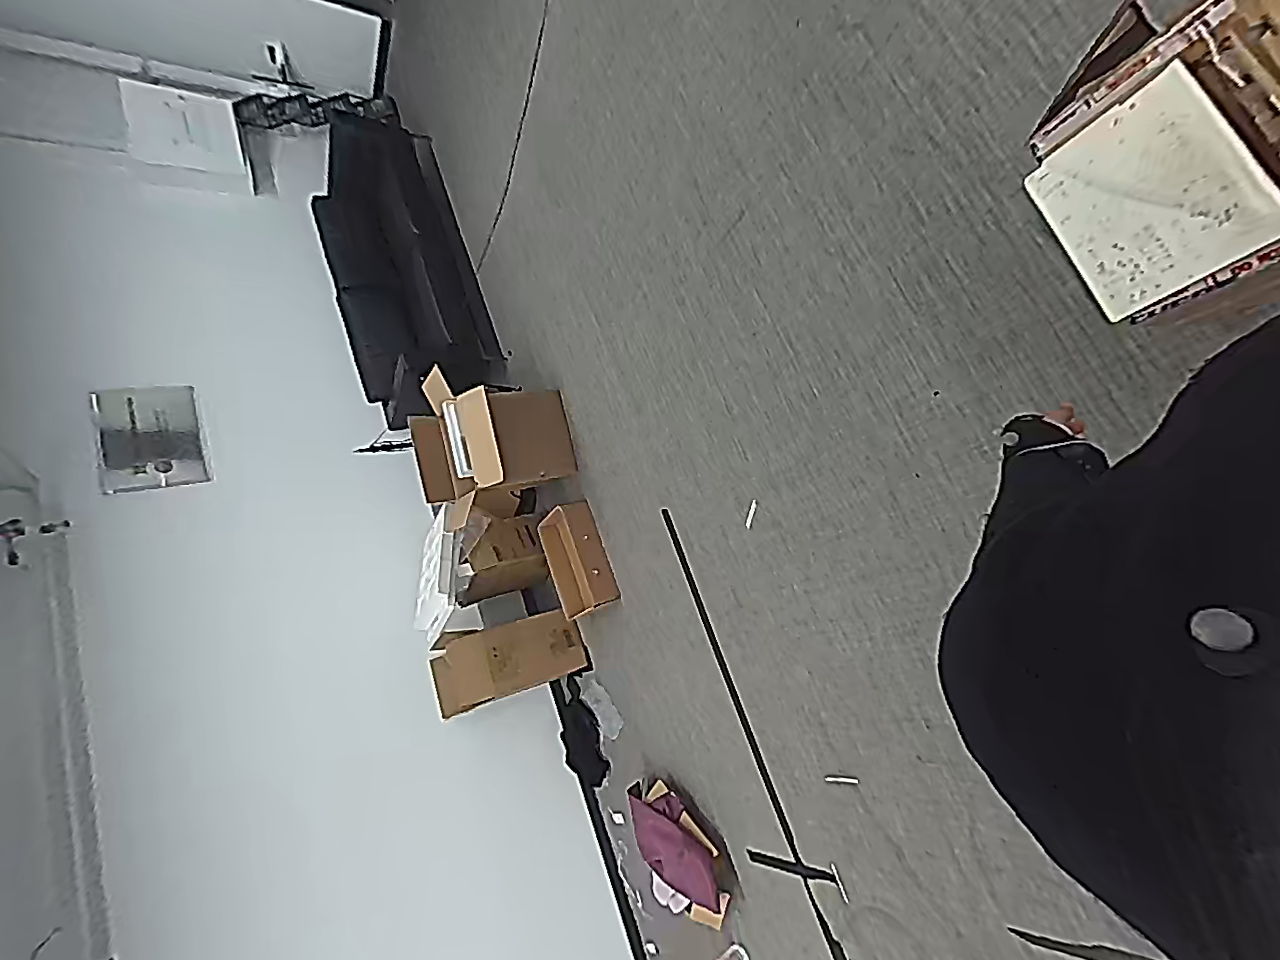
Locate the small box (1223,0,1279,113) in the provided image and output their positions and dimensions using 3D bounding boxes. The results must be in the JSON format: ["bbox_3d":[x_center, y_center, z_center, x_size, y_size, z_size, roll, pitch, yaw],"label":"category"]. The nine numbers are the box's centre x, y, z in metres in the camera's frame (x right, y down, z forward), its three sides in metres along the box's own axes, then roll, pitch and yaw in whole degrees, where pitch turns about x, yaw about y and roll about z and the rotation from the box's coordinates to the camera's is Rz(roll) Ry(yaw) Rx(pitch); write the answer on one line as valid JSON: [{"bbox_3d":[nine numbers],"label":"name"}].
[{"bbox_3d":[0.628,-0.390,0.437,0.168,0.176,0.179,-35,73,51],"label":"small box"}]

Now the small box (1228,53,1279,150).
[{"bbox_3d":[0.756,-0.417,0.537,0.179,0.176,0.168,-40,68,51],"label":"small box"}]
